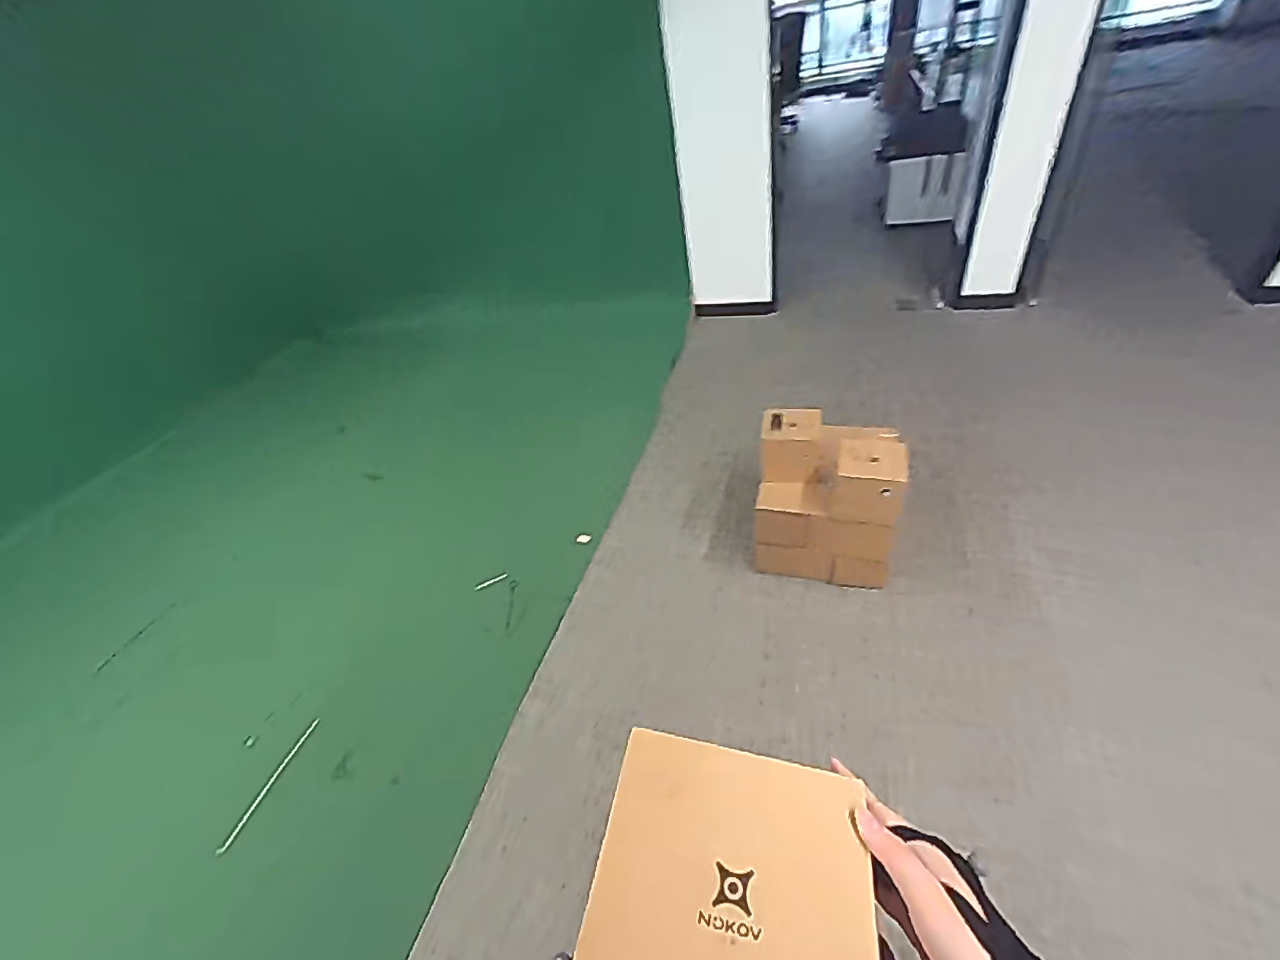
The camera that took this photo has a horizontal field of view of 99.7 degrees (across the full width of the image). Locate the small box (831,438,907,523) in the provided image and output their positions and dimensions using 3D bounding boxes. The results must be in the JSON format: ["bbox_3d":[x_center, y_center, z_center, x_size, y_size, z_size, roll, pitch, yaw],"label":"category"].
[{"bbox_3d":[0.646,0.002,1.530,0.179,0.176,0.168,6,44,20],"label":"small box"}]
